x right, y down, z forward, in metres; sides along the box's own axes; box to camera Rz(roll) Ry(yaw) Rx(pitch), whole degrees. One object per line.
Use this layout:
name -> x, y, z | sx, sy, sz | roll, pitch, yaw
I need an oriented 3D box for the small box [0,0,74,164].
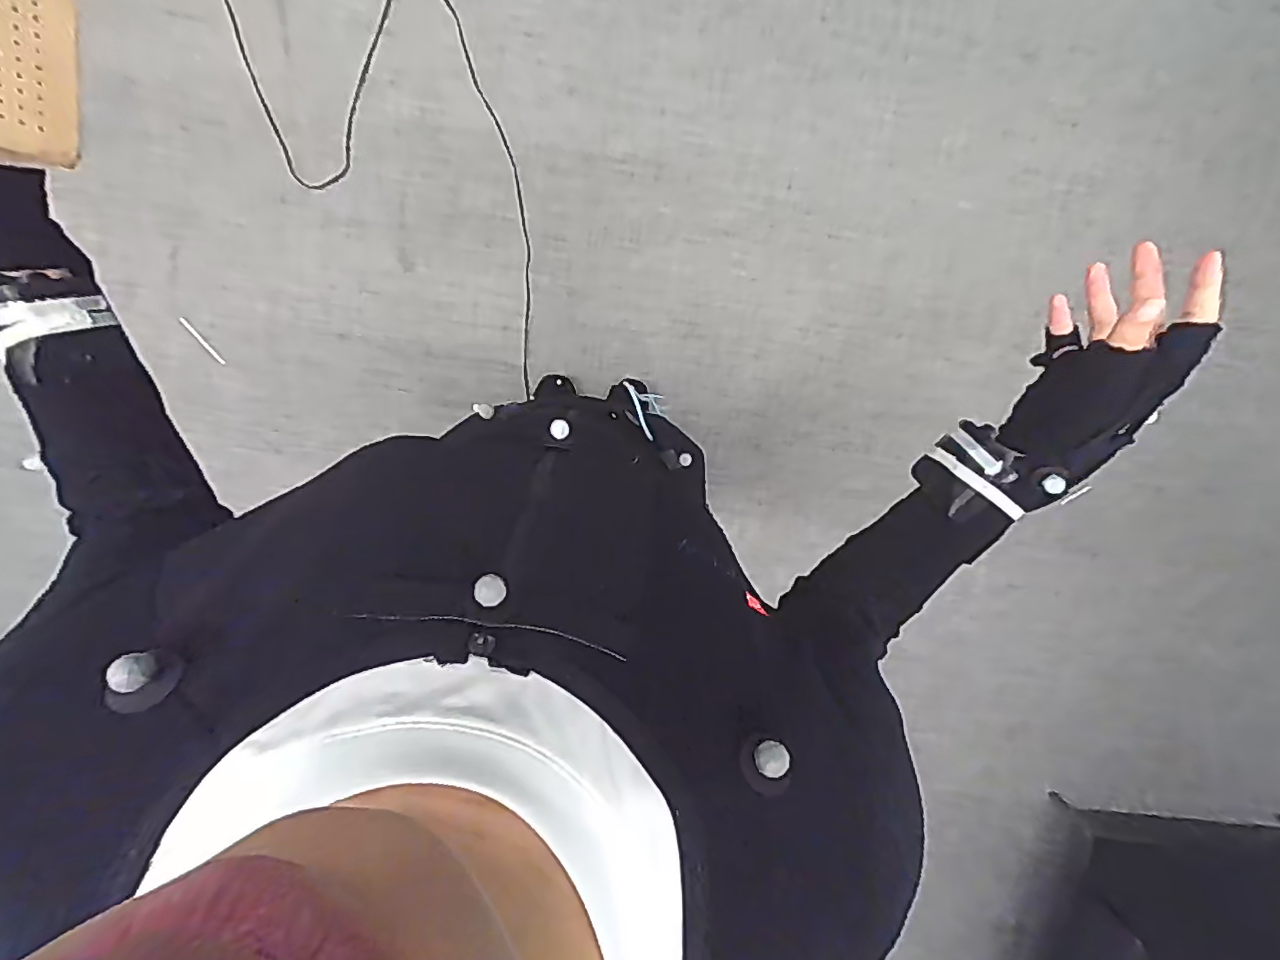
small box -> -0.354, -0.245, 0.193 | 0.168, 0.176, 0.179 | 17, 104, 21
